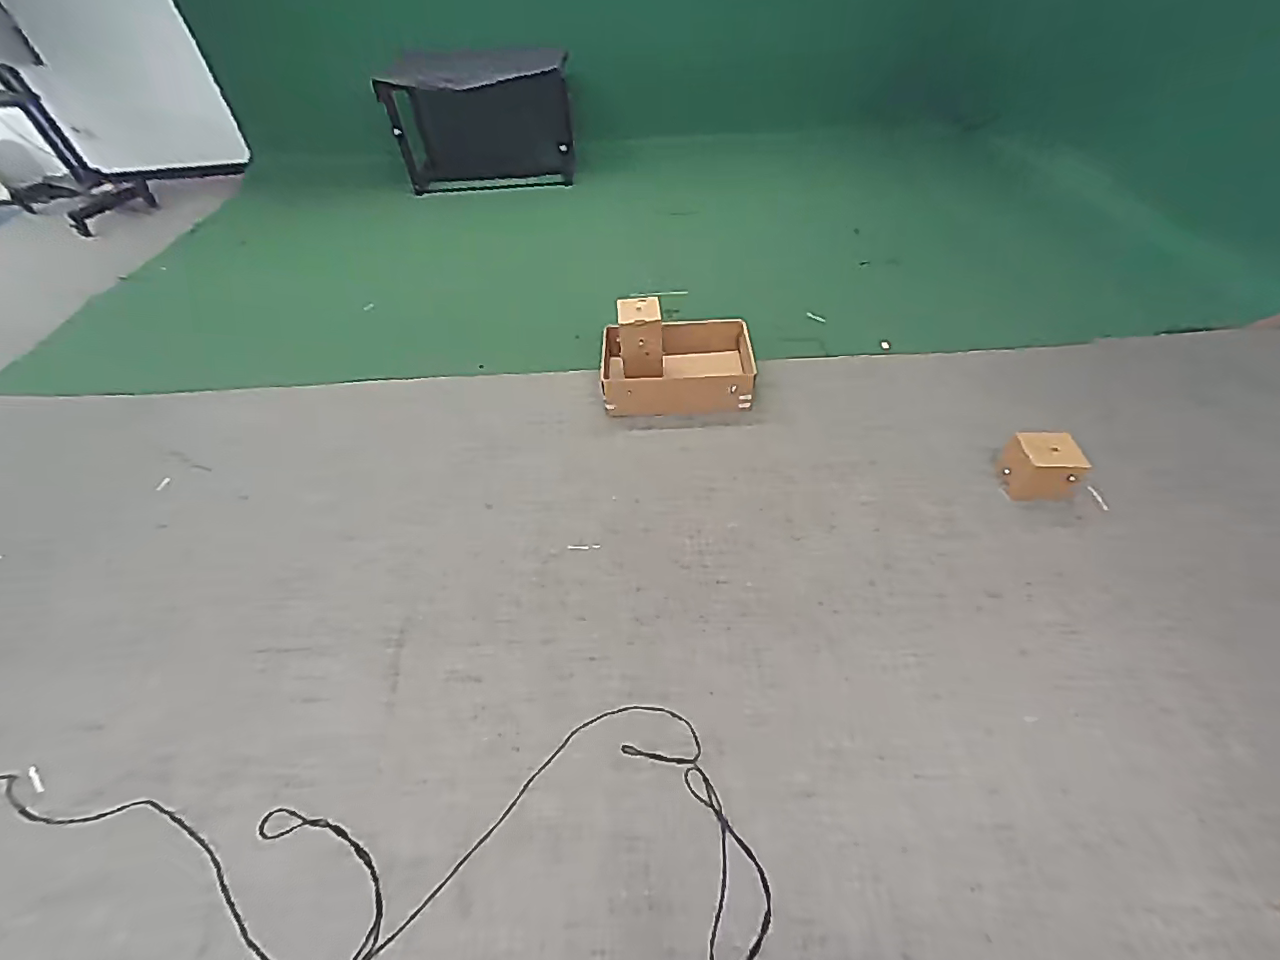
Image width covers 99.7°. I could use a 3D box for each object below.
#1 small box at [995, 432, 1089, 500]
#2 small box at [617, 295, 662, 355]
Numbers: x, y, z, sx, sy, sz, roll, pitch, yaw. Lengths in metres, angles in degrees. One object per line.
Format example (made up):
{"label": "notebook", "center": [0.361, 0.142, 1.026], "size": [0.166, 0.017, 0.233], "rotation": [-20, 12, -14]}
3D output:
{"label": "small box", "center": [1.359, -0.046, 1.841], "size": [0.179, 0.176, 0.168], "rotation": [1, 48, 5]}
{"label": "small box", "center": [-0.003, -0.611, 2.154], "size": [0.168, 0.176, 0.179], "rotation": [-5, 50, 0]}
